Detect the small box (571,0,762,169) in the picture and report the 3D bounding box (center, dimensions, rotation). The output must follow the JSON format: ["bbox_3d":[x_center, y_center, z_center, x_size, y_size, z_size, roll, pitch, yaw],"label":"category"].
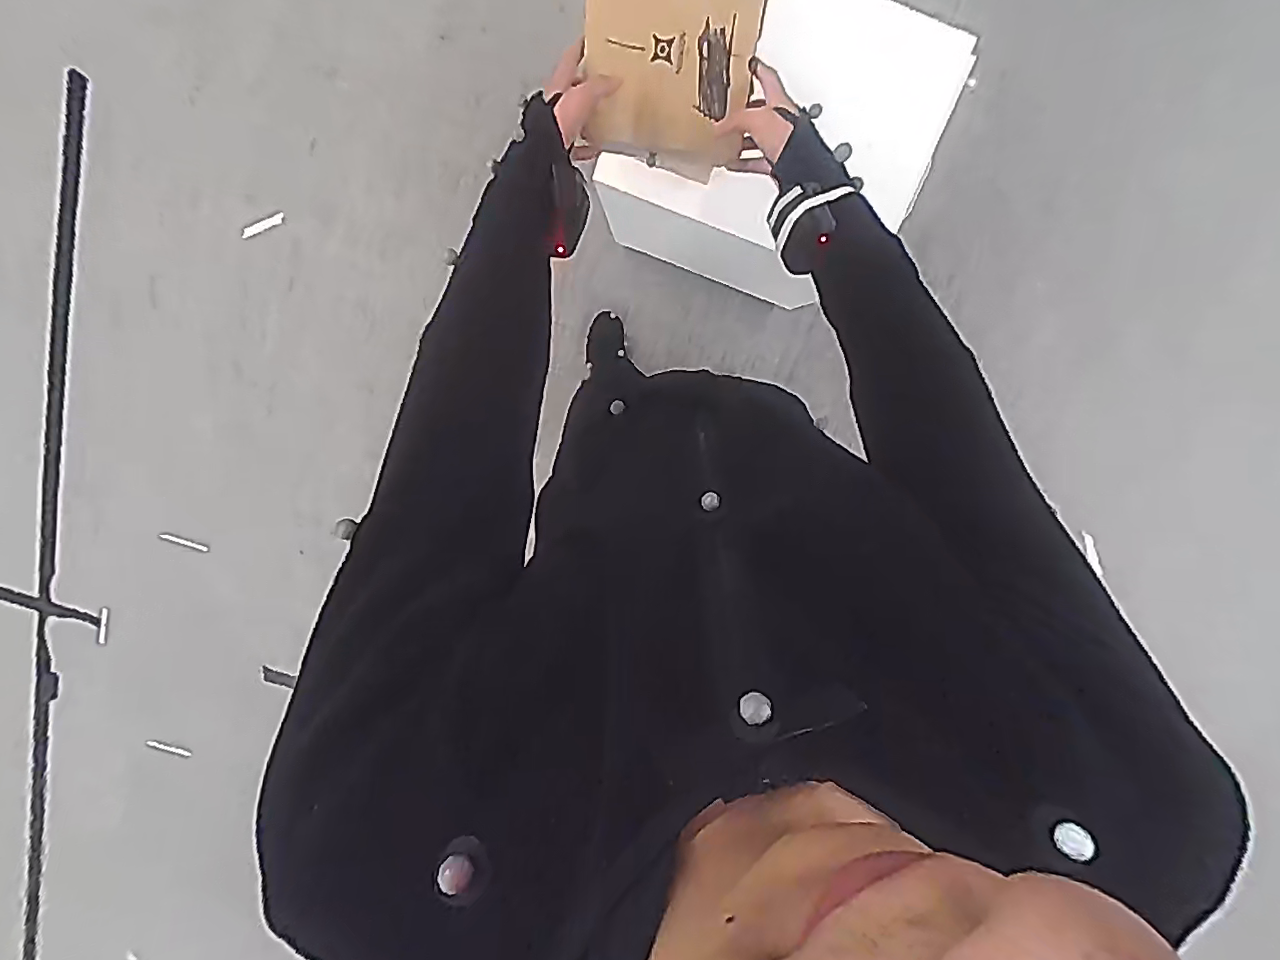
[{"bbox_3d":[0.024,-0.455,0.607,0.179,0.176,0.168,7,117,-1],"label":"small box"}]
